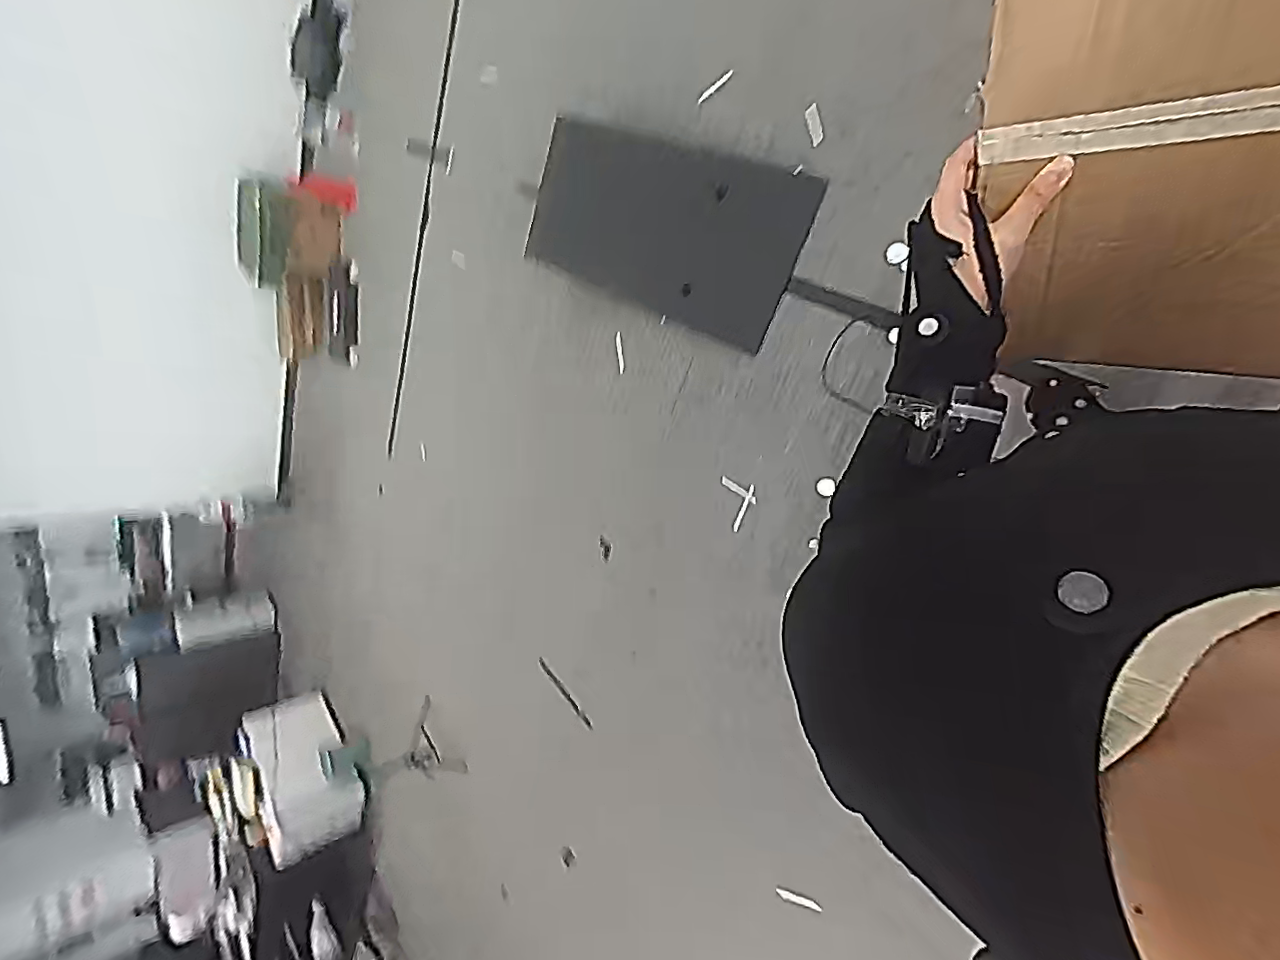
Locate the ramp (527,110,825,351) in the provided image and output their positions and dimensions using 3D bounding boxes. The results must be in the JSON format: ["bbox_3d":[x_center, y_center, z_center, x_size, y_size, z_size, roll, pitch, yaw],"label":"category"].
[{"bbox_3d":[0.039,-0.825,1.730,0.991,0.206,0.509,35,115,35],"label":"ramp"}]
